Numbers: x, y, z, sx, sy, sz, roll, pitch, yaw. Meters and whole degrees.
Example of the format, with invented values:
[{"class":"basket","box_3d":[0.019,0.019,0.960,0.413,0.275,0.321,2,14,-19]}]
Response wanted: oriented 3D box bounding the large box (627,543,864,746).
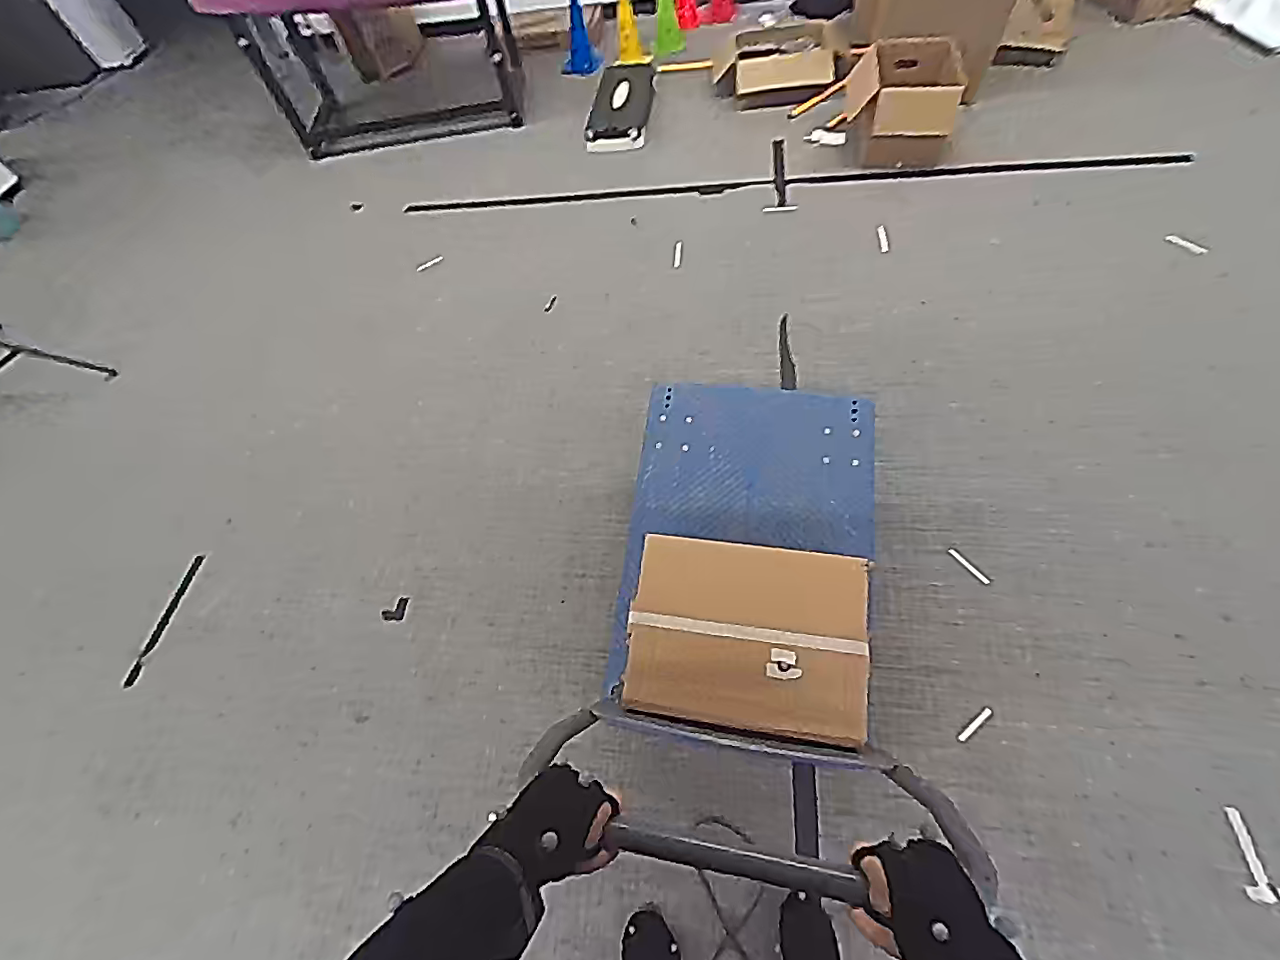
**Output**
[{"class":"large box","box_3d":[0.205,0.330,1.099,0.408,0.320,0.320,5,71,9]}]
